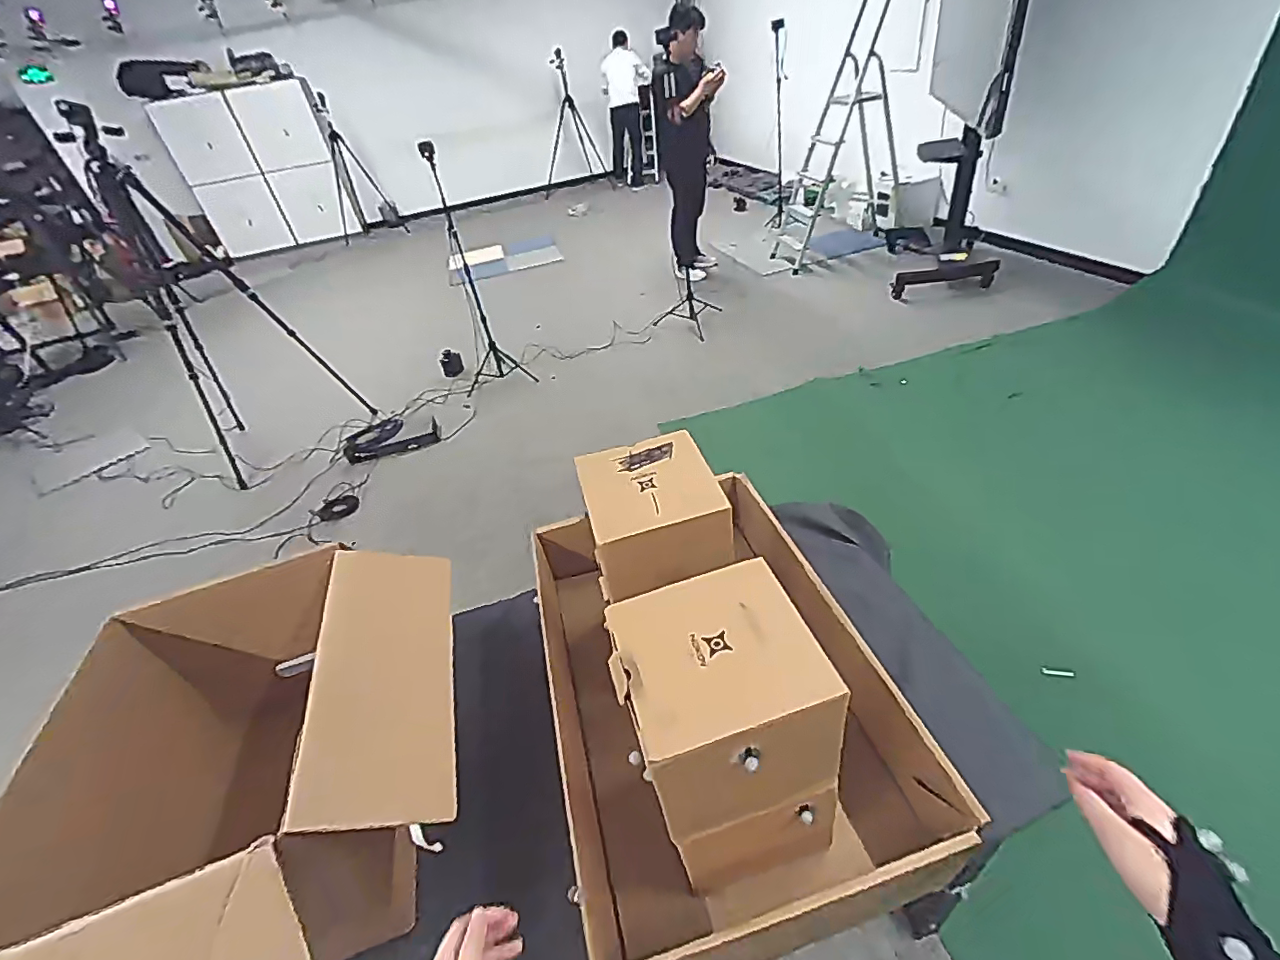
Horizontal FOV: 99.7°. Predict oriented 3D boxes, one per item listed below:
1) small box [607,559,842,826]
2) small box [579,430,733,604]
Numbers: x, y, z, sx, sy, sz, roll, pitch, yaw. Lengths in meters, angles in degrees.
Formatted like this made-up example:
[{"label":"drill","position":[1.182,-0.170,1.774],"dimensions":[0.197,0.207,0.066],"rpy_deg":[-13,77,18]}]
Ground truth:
[{"label":"small box","position":[0.080,0.215,0.549],"dimensions":[0.179,0.176,0.168],"rpy_deg":[-16,39,-7]},{"label":"small box","position":[0.020,0.061,0.744],"dimensions":[0.168,0.176,0.179],"rpy_deg":[-15,41,-6]}]
